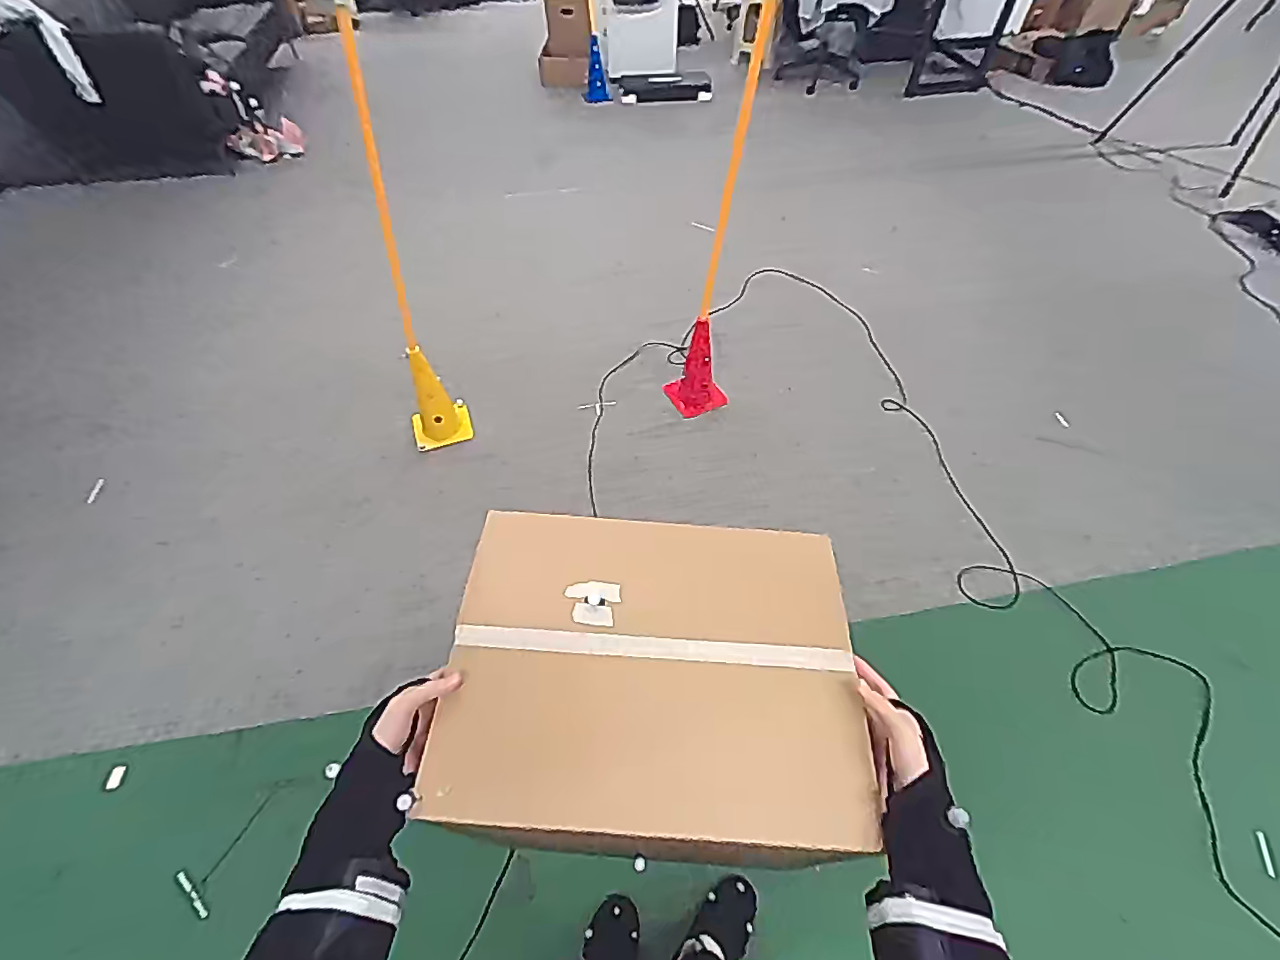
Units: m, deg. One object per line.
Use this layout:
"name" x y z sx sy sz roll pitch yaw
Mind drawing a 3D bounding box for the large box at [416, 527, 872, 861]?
"large box" 0.007 0.275 0.672 0.408 0.320 0.320 3 51 0
